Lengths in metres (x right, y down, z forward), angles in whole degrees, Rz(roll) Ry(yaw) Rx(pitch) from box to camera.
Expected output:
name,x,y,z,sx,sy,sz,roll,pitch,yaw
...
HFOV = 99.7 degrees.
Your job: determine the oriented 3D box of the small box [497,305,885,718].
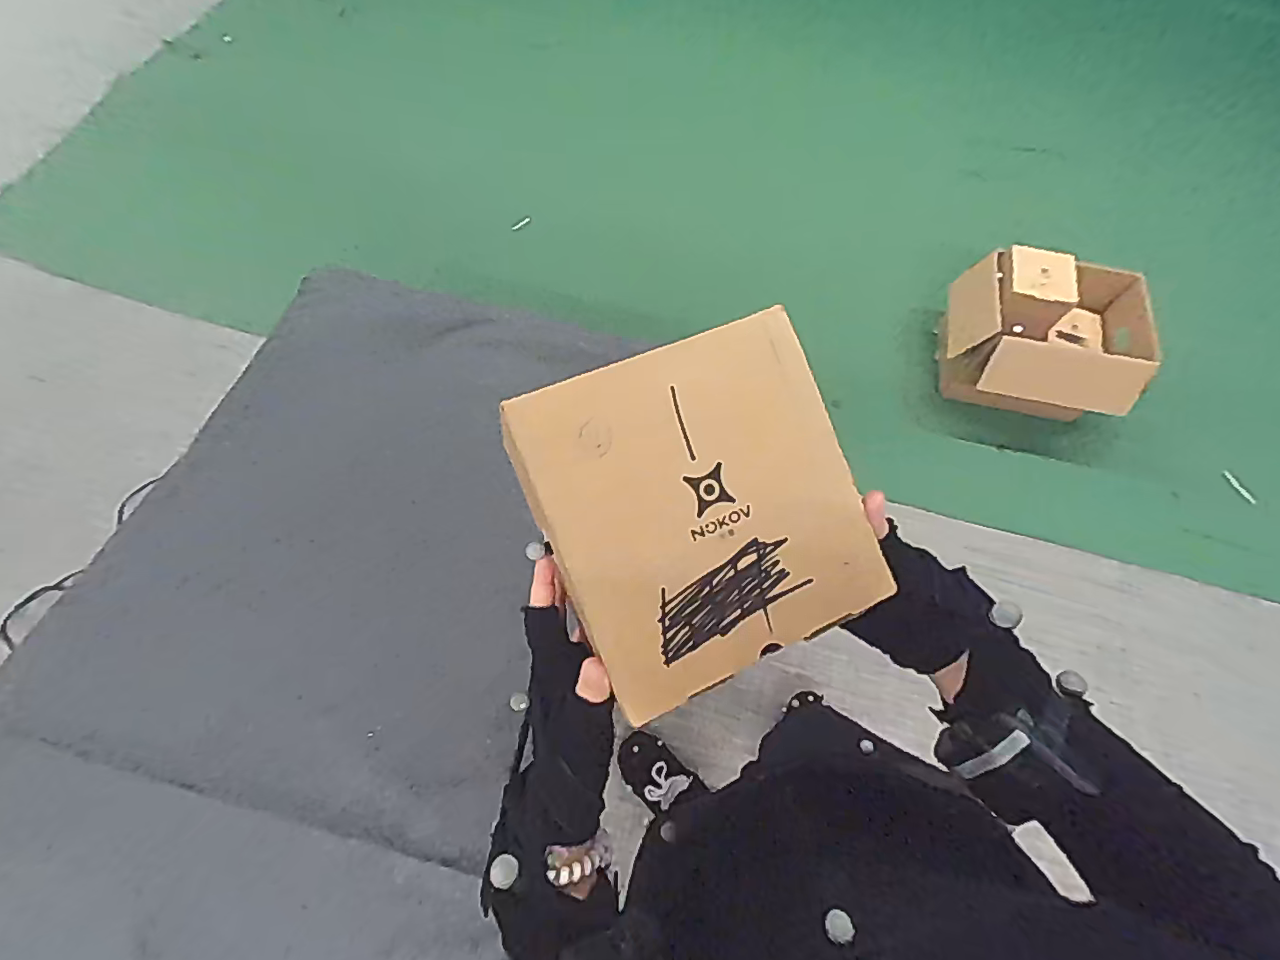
name,x,y,z,sx,sy,sz,roll,pitch,yaw
small box,0.017,0.015,0.359,0.168,0.176,0.179,-22,92,-13
